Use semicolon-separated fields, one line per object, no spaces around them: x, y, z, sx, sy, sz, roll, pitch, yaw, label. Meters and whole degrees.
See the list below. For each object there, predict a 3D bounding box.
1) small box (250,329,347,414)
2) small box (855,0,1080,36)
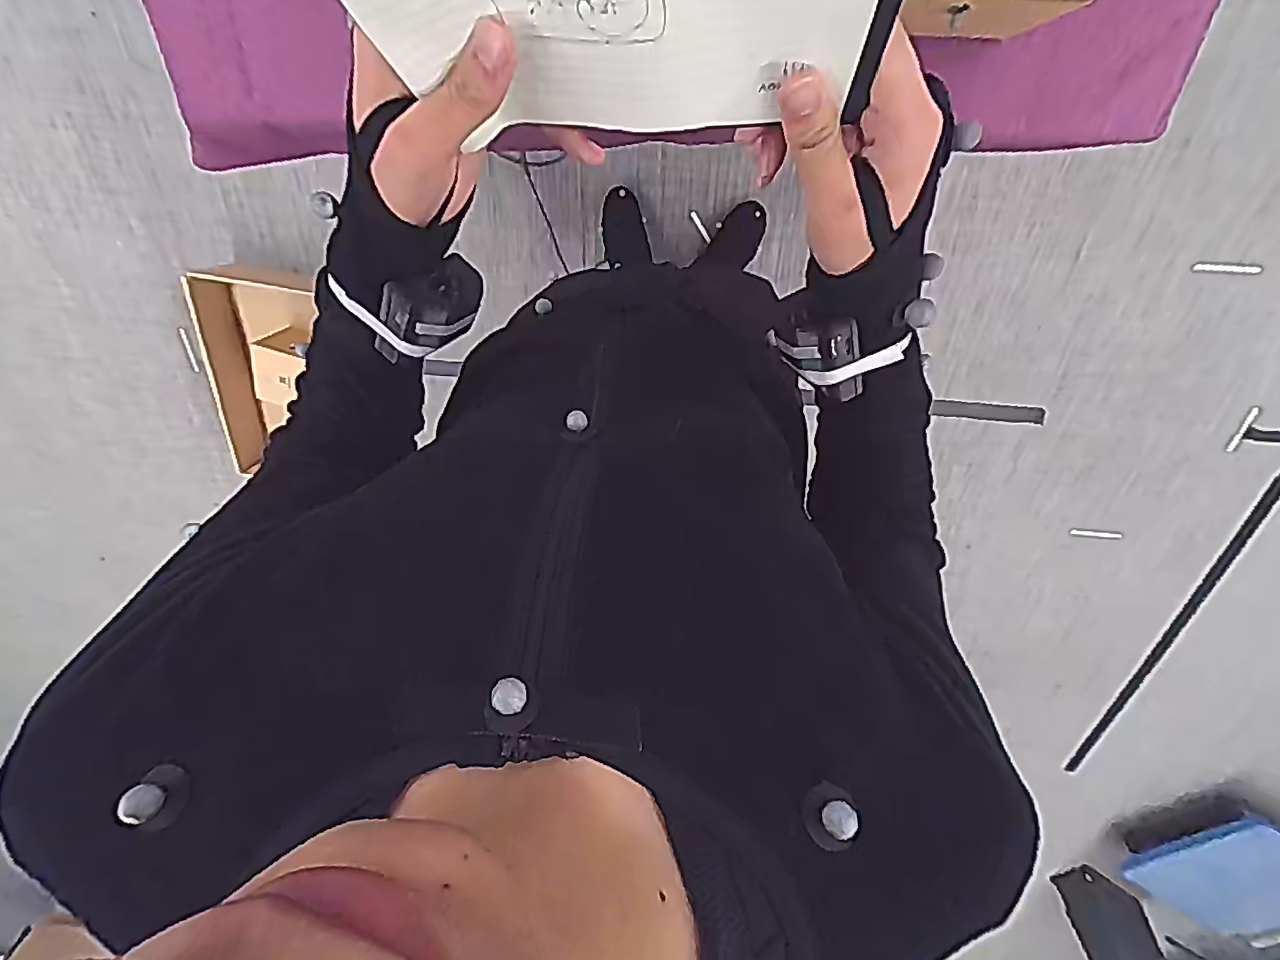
-0.964;-0.315;1.544;0.179;0.176;0.168;16;121;-4;small box
0.313;-0.521;0.485;0.179;0.176;0.168;6;121;3;small box
